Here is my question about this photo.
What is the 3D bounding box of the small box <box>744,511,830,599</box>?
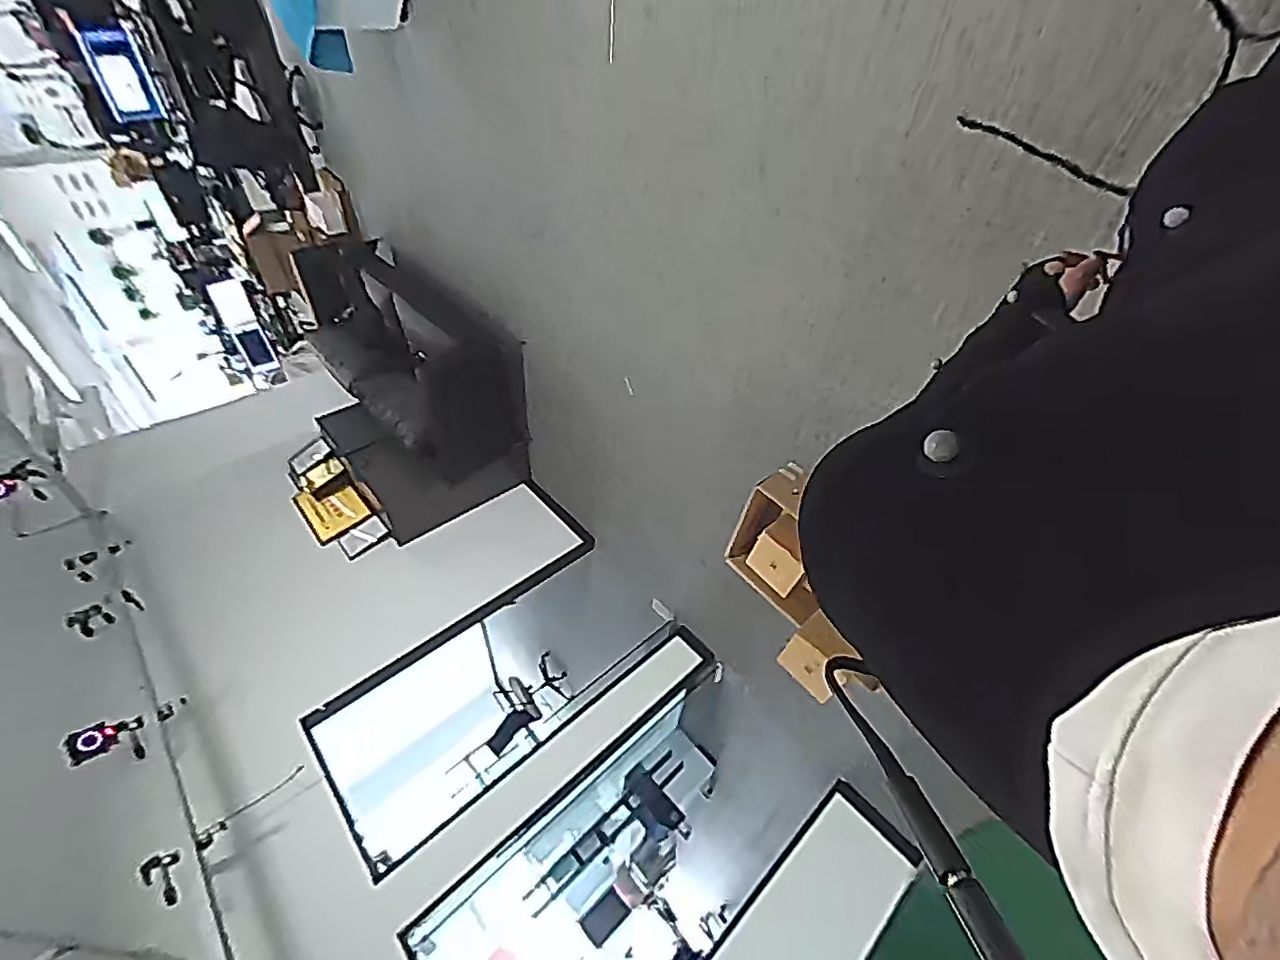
[{"bbox_3d":[0.455,0.229,1.670,0.168,0.176,0.179,44,144,25],"label":"small box"}]

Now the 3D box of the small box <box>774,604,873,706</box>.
[{"bbox_3d":[0.504,0.477,1.482,0.168,0.176,0.179,42,144,26],"label":"small box"}]
